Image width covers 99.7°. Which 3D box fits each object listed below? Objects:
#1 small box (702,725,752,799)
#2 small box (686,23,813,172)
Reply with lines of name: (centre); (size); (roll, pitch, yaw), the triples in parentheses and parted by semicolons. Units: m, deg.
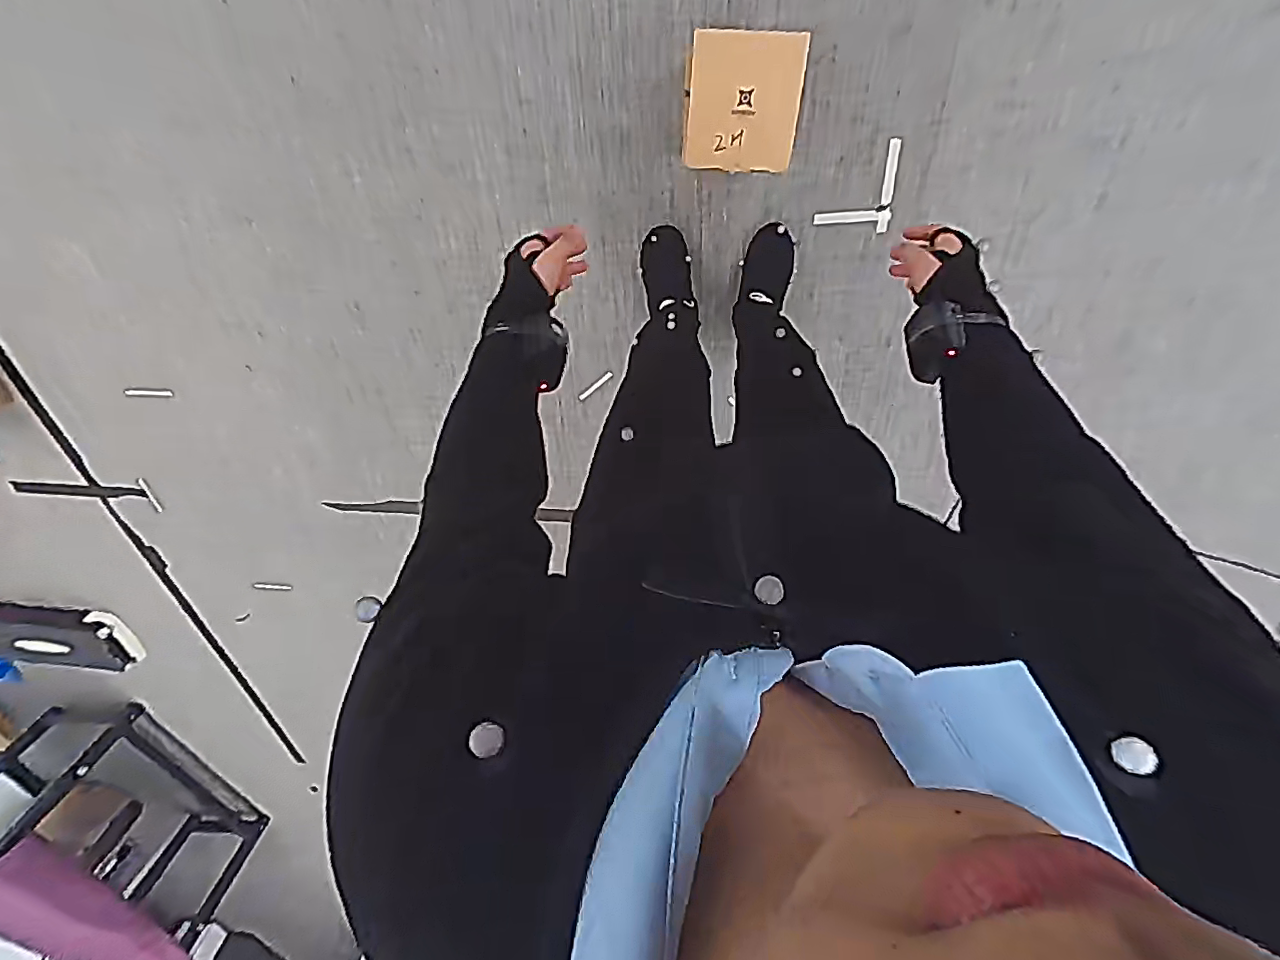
small box: (0.310, 1.000, 1.917); (0.168, 0.176, 0.179); (-2, 123, 9)
small box: (0.165, -0.606, 0.867); (0.168, 0.176, 0.179); (6, 125, 5)
